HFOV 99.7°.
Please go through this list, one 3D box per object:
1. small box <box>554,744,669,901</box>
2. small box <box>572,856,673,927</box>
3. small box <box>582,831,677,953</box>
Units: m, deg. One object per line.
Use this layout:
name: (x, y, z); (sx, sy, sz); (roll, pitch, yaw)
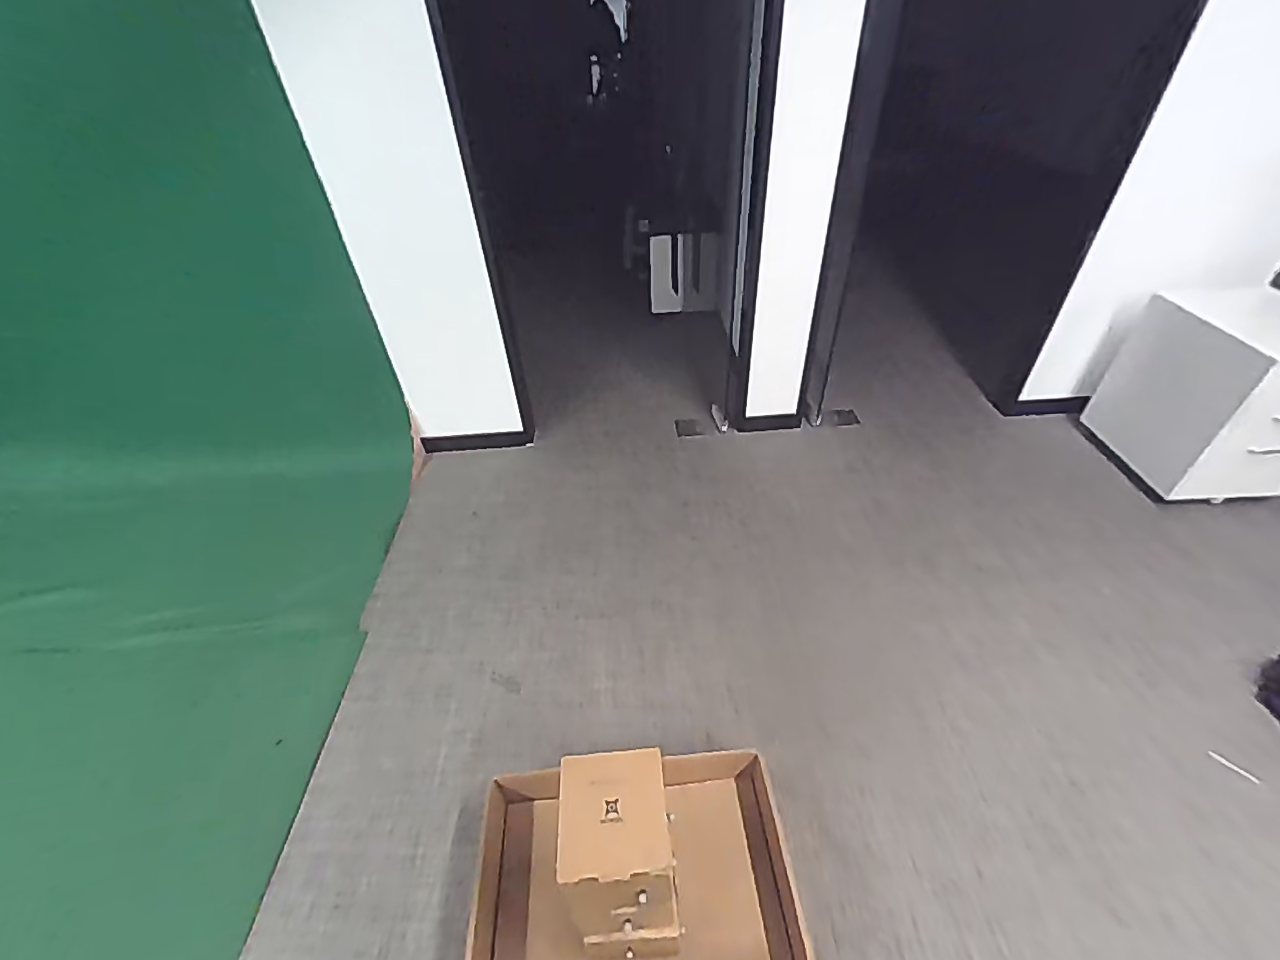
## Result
small box: (-0.043, 0.564, 0.887); (0.168, 0.176, 0.179); (-4, 39, -2)
small box: (-0.033, 0.702, 1.005); (0.168, 0.176, 0.179); (-7, 40, -2)
small box: (-0.016, 0.834, 1.096); (0.179, 0.176, 0.168); (-4, 39, 1)
